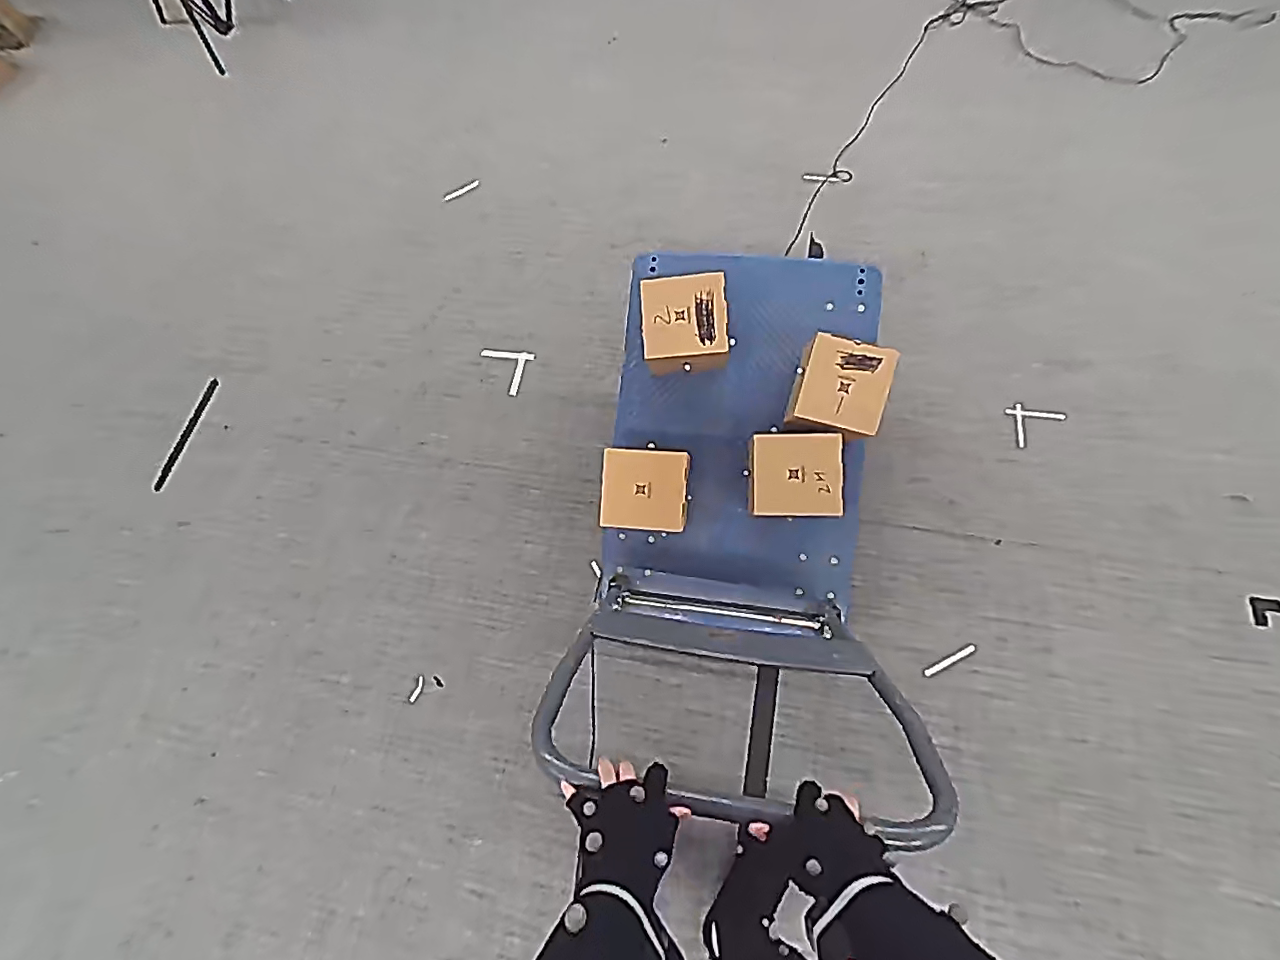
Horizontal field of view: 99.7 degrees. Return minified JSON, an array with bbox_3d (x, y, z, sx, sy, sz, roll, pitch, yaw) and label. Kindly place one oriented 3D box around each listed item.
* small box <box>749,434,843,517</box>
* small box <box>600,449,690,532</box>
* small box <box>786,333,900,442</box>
[{"bbox_3d":[0.325,-0.008,1.155,0.179,0.176,0.168,0,90,8],"label":"small box"},{"bbox_3d":[0.017,0.023,1.196,0.179,0.176,0.168,3,90,6],"label":"small box"},{"bbox_3d":[0.418,-0.188,1.145,0.168,0.176,0.179,16,92,8],"label":"small box"}]
